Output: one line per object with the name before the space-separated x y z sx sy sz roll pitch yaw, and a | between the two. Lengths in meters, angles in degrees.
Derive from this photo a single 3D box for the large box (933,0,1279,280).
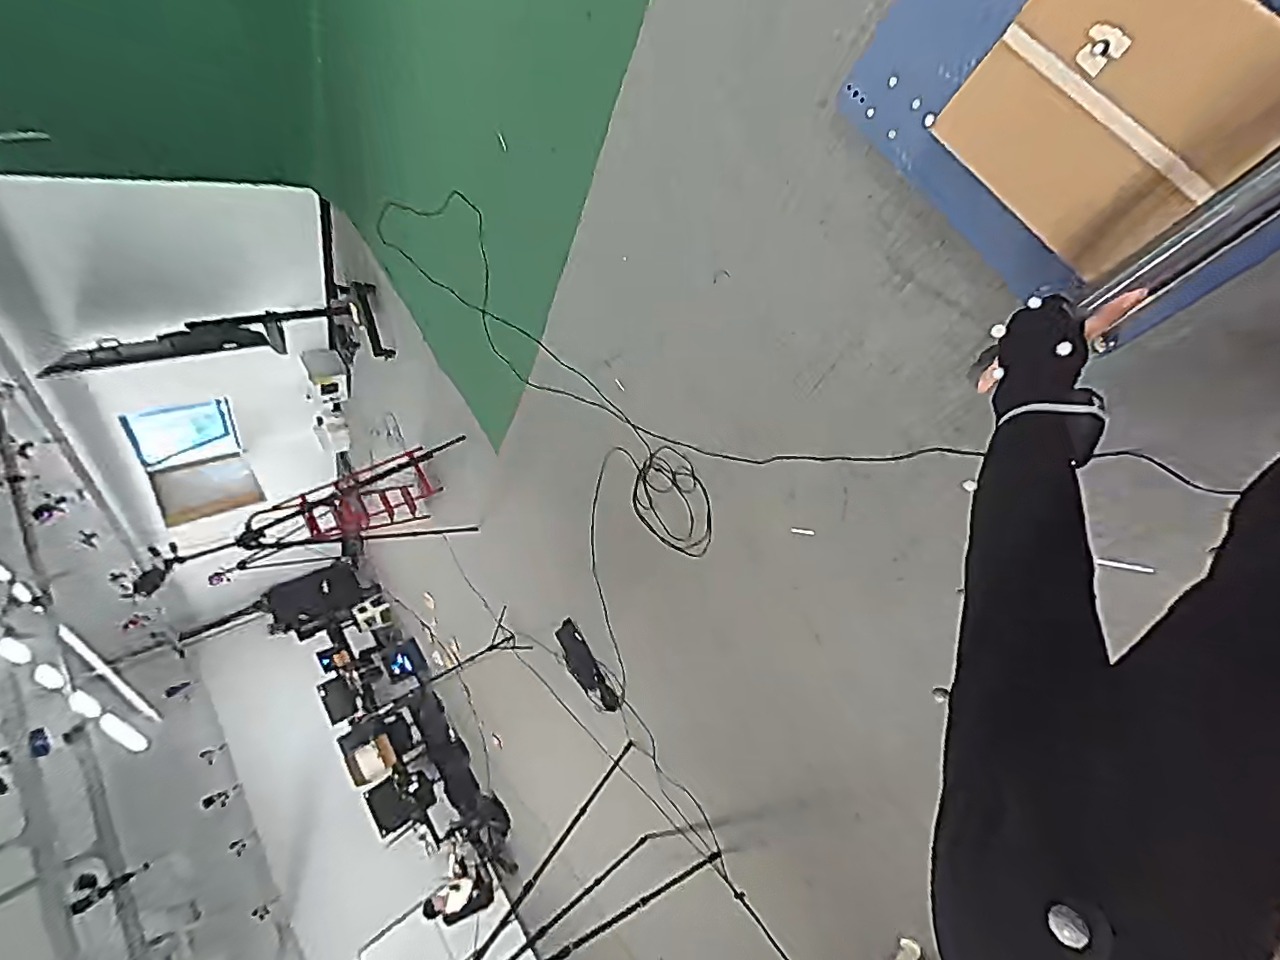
large box | 0.807 -0.597 0.900 0.408 0.320 0.320 57 141 15
